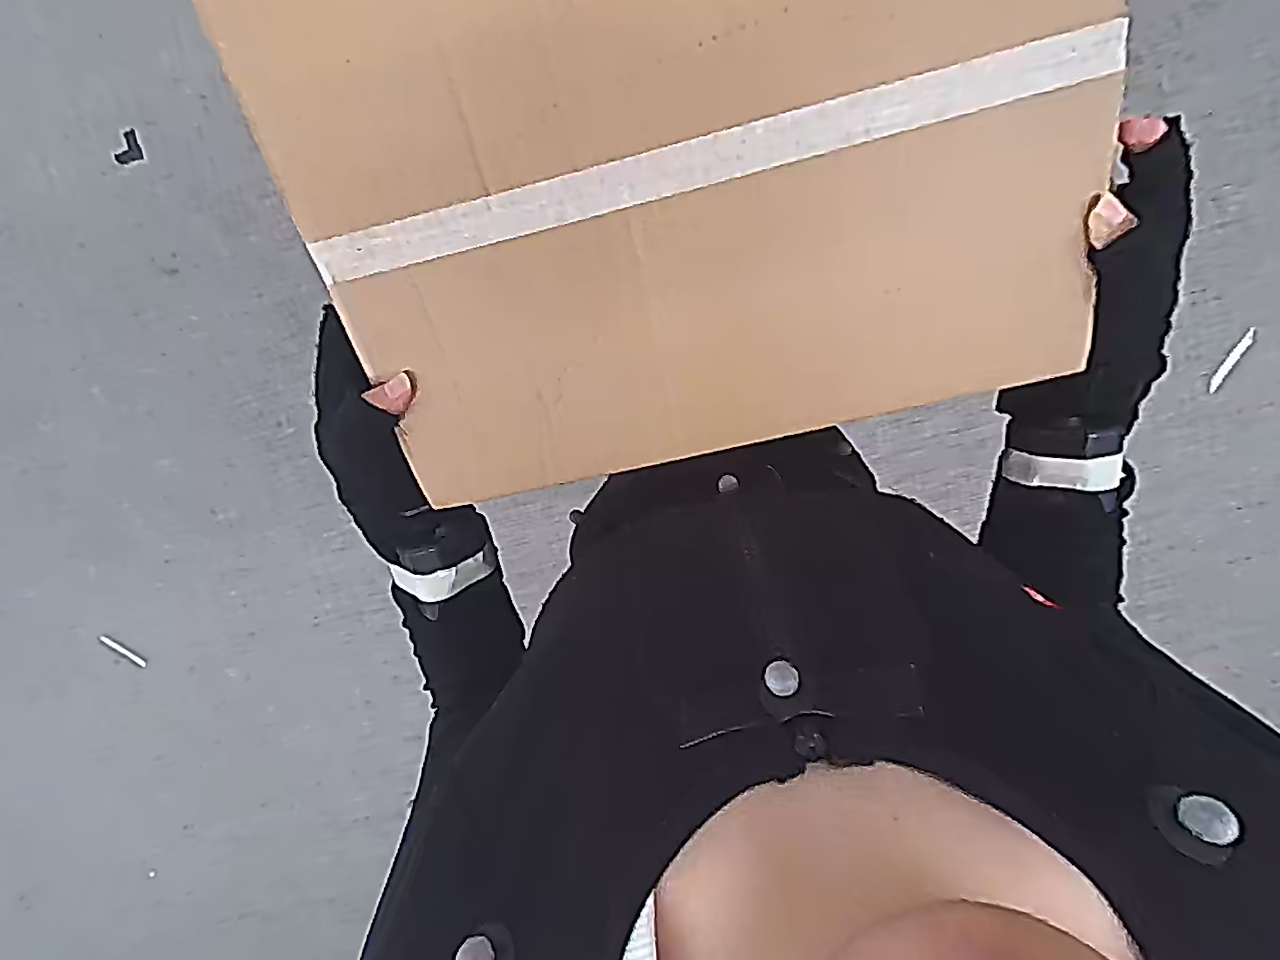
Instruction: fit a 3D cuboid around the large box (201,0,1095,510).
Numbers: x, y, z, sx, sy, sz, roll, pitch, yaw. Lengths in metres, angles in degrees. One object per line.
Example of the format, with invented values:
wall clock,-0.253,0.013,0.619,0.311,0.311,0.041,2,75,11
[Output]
large box,0.022,-0.222,0.414,0.408,0.320,0.320,-12,115,6
